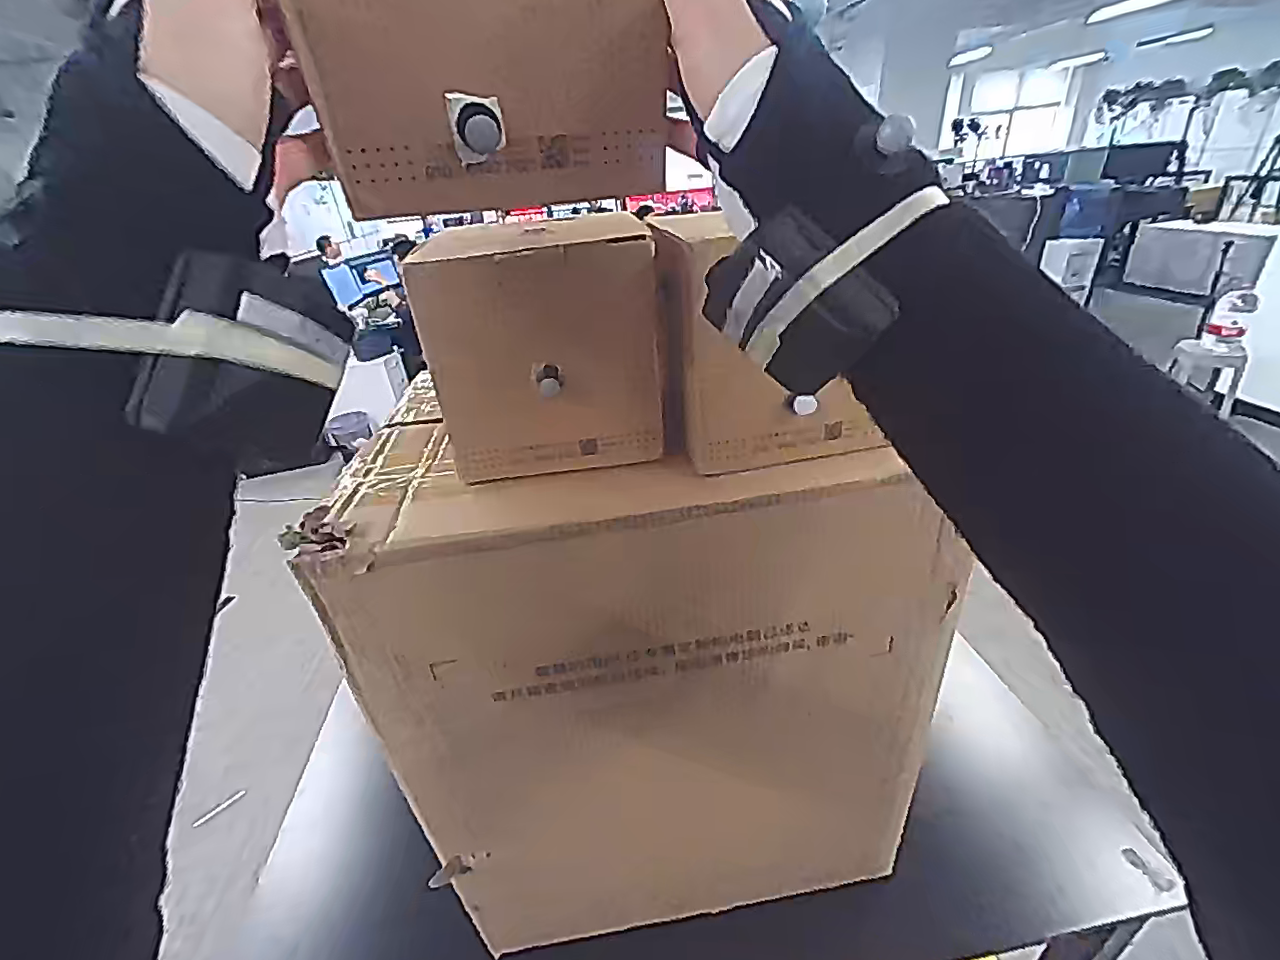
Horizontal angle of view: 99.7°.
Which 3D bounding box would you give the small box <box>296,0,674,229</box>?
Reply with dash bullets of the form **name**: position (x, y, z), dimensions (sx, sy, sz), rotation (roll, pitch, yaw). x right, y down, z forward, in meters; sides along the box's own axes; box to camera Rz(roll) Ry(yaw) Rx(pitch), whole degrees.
- **small box**: position (-0.085, -0.255, 0.295), dimensions (0.168, 0.176, 0.179), rotation (-12, 45, -11)
